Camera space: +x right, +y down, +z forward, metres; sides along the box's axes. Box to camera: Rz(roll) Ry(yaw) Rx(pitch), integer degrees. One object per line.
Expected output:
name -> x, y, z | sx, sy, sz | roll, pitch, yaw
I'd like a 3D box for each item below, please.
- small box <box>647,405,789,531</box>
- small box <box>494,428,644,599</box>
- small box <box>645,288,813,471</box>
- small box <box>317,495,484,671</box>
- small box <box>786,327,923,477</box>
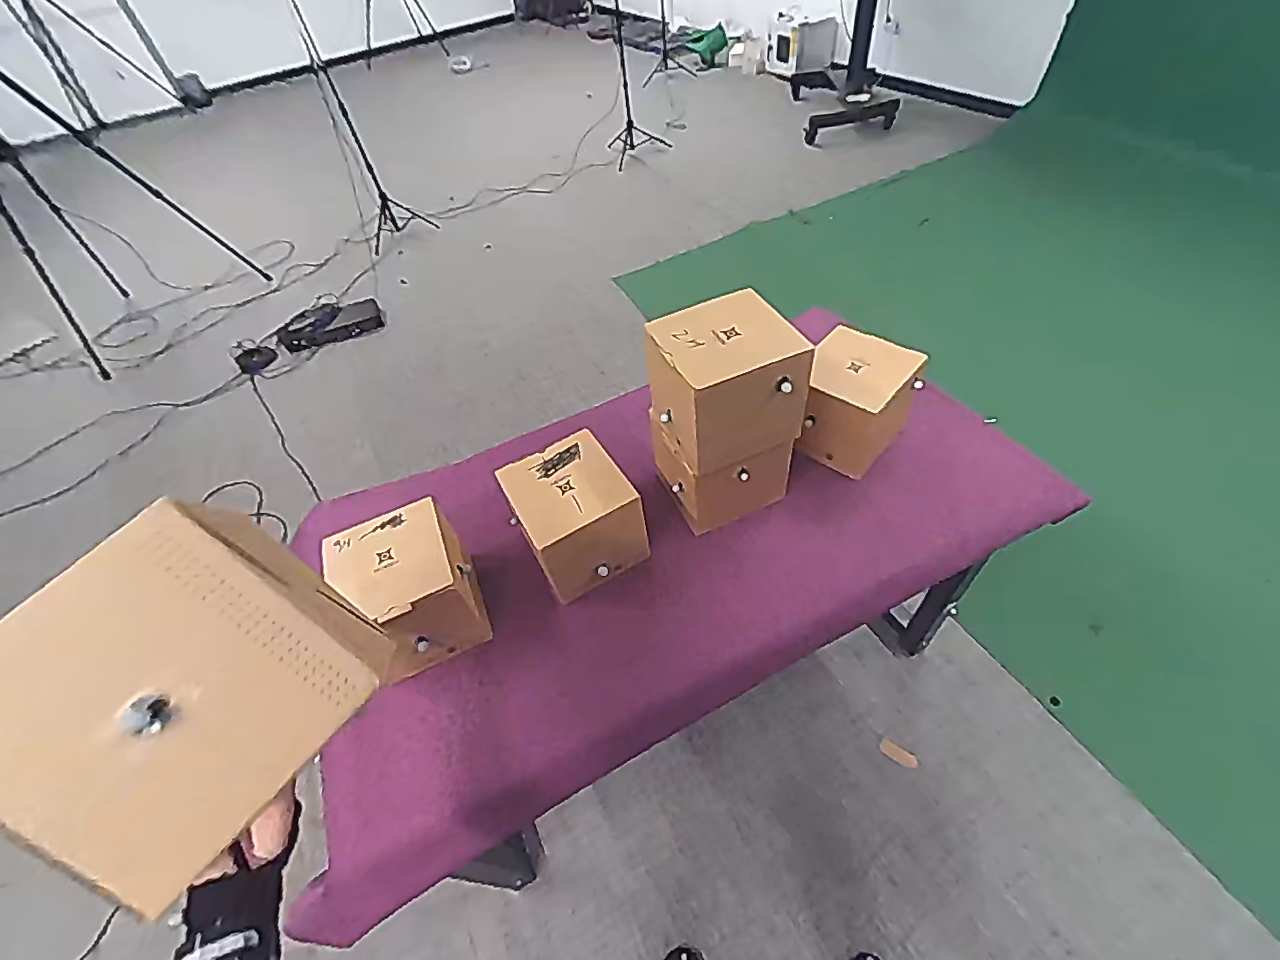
small box -> 0.128, -0.041, 0.912 | 0.179, 0.176, 0.168 | -21, 51, -10
small box -> -0.107, 0.054, 0.860 | 0.168, 0.176, 0.179 | -27, 52, -15
small box -> 0.120, -0.143, 0.782 | 0.179, 0.176, 0.168 | -21, 50, -10
small box -> -0.348, 0.160, 0.802 | 0.168, 0.176, 0.179 | -23, 52, -12
small box -> 0.364, -0.136, 0.961 | 0.168, 0.176, 0.179 | 33, 61, 30
